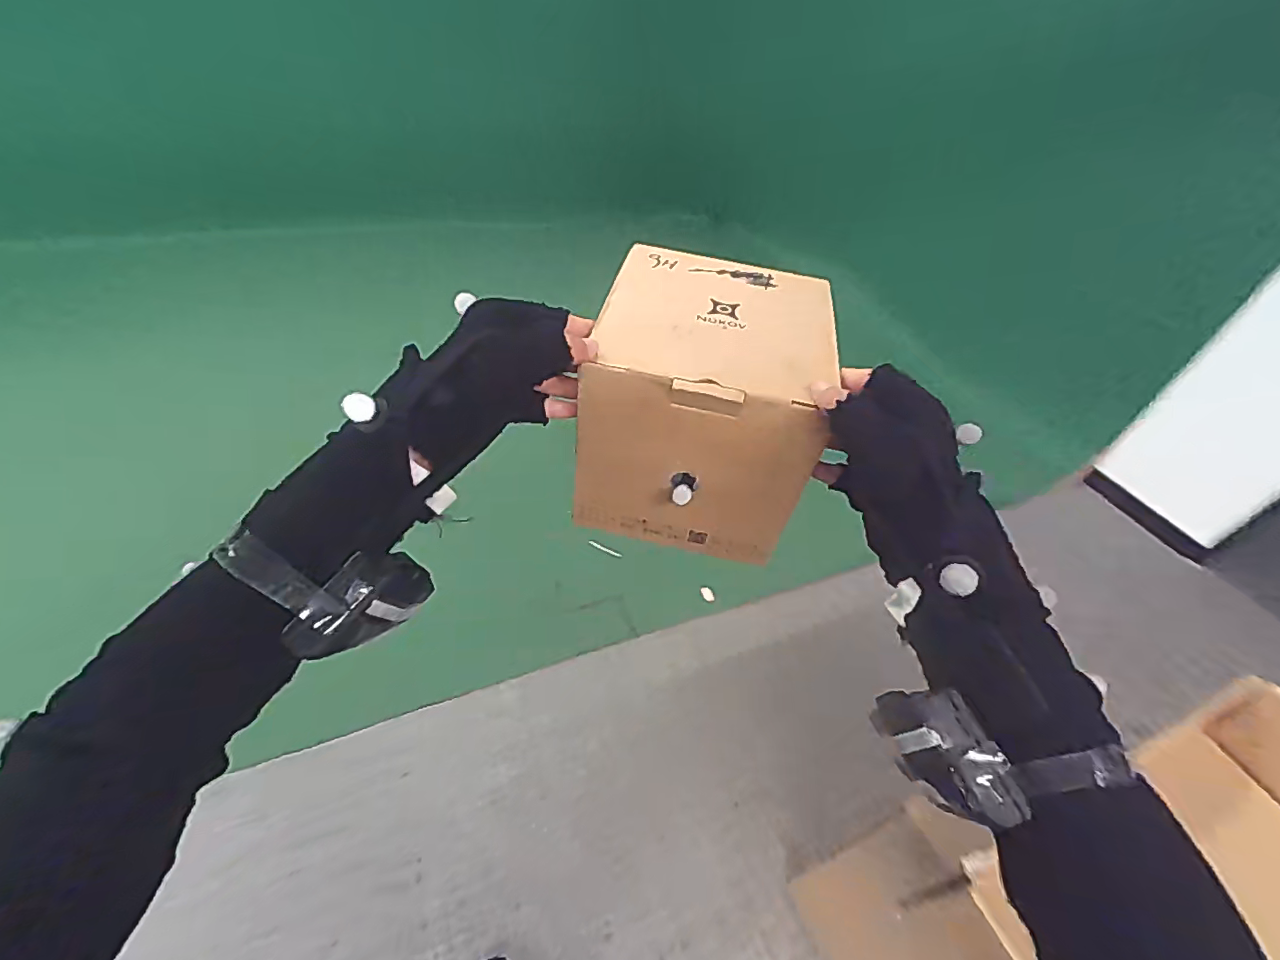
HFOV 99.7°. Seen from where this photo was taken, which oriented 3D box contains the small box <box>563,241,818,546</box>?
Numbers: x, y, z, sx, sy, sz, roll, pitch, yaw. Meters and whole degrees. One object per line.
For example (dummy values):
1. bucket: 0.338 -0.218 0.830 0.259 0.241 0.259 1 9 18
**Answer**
1. small box: 0.039 -0.068 0.452 0.168 0.176 0.179 12 48 2
